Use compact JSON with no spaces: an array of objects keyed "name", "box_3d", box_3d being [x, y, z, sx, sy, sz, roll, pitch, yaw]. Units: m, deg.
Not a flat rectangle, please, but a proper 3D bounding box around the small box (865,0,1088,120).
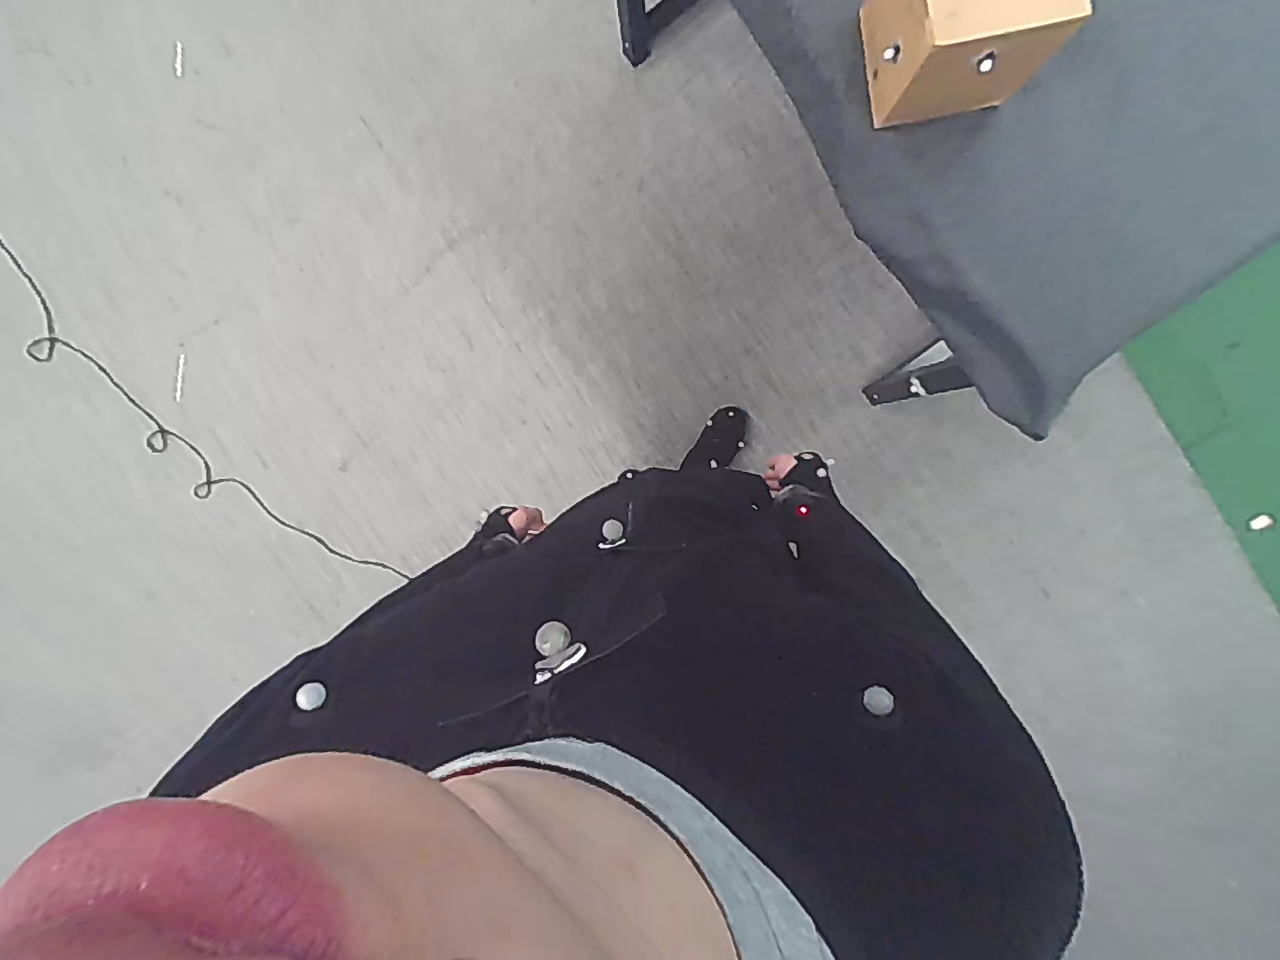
[{"name":"small box","box_3d":[0.396,-0.584,0.670,0.179,0.176,0.168,-10,95,2]}]
